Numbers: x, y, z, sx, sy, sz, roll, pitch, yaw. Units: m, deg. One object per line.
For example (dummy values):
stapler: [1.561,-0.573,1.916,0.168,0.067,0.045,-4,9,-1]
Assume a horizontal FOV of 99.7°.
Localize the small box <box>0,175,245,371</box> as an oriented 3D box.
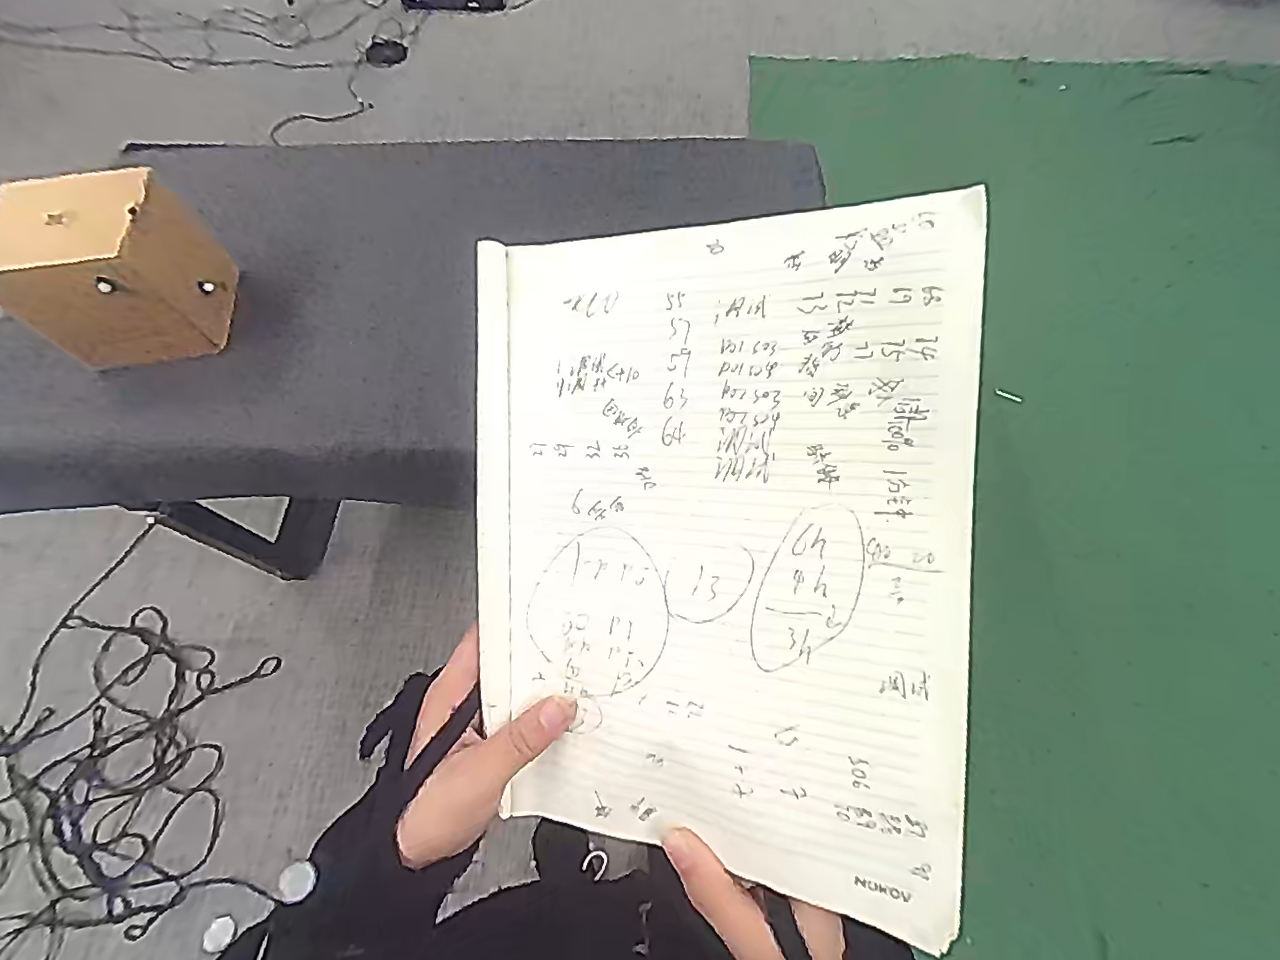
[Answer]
small box: [-0.674,-0.263,0.711,0.179,0.176,0.168,-10,63,-4]
